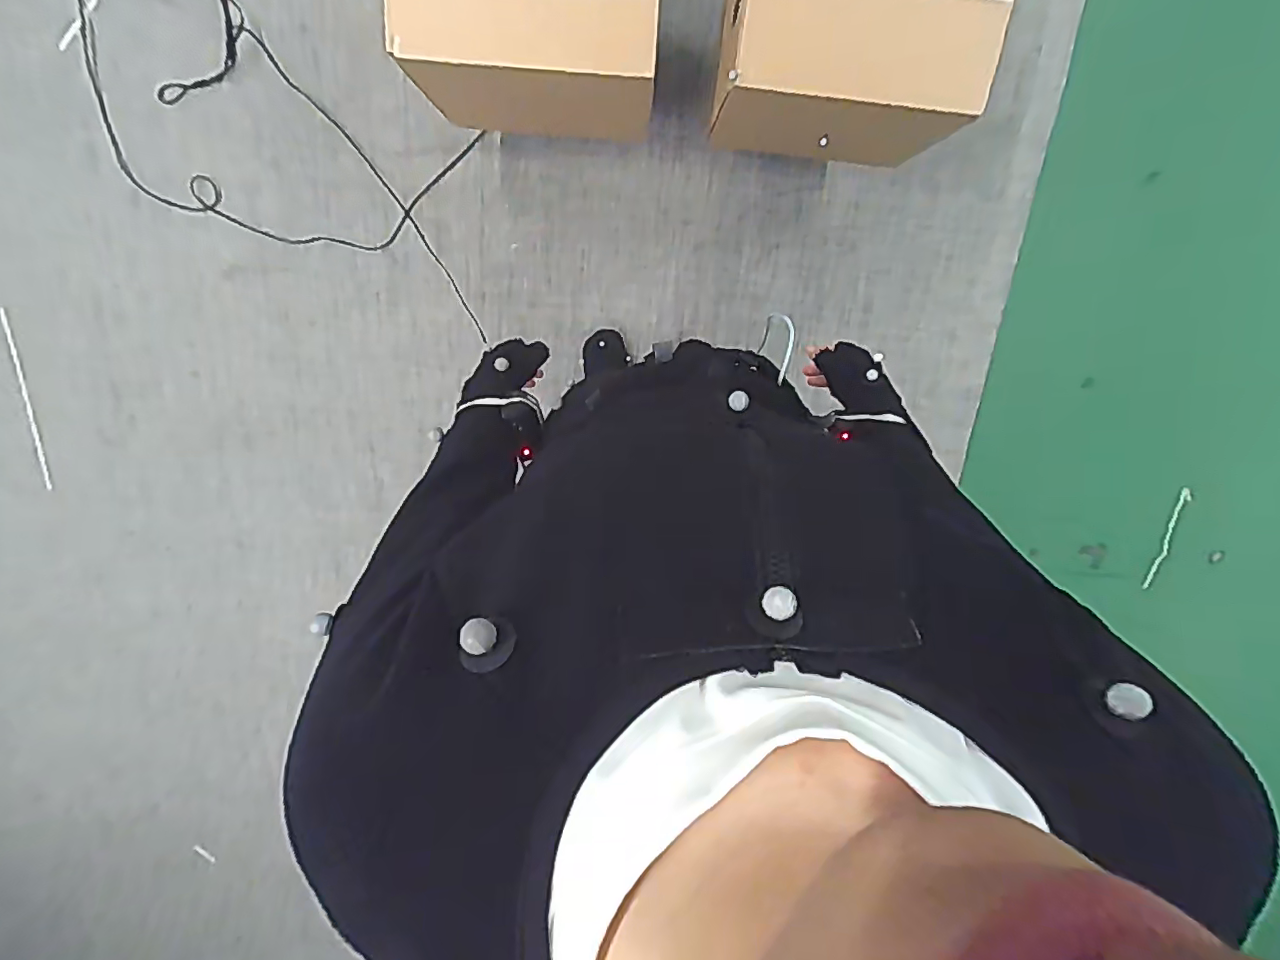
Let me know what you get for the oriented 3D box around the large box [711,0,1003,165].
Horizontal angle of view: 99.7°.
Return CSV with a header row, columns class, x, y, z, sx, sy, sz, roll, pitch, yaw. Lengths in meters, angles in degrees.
class,x,y,z,sx,sy,sz,roll,pitch,yaw
large box,0.362,-0.789,0.969,0.408,0.320,0.320,6,106,-2
